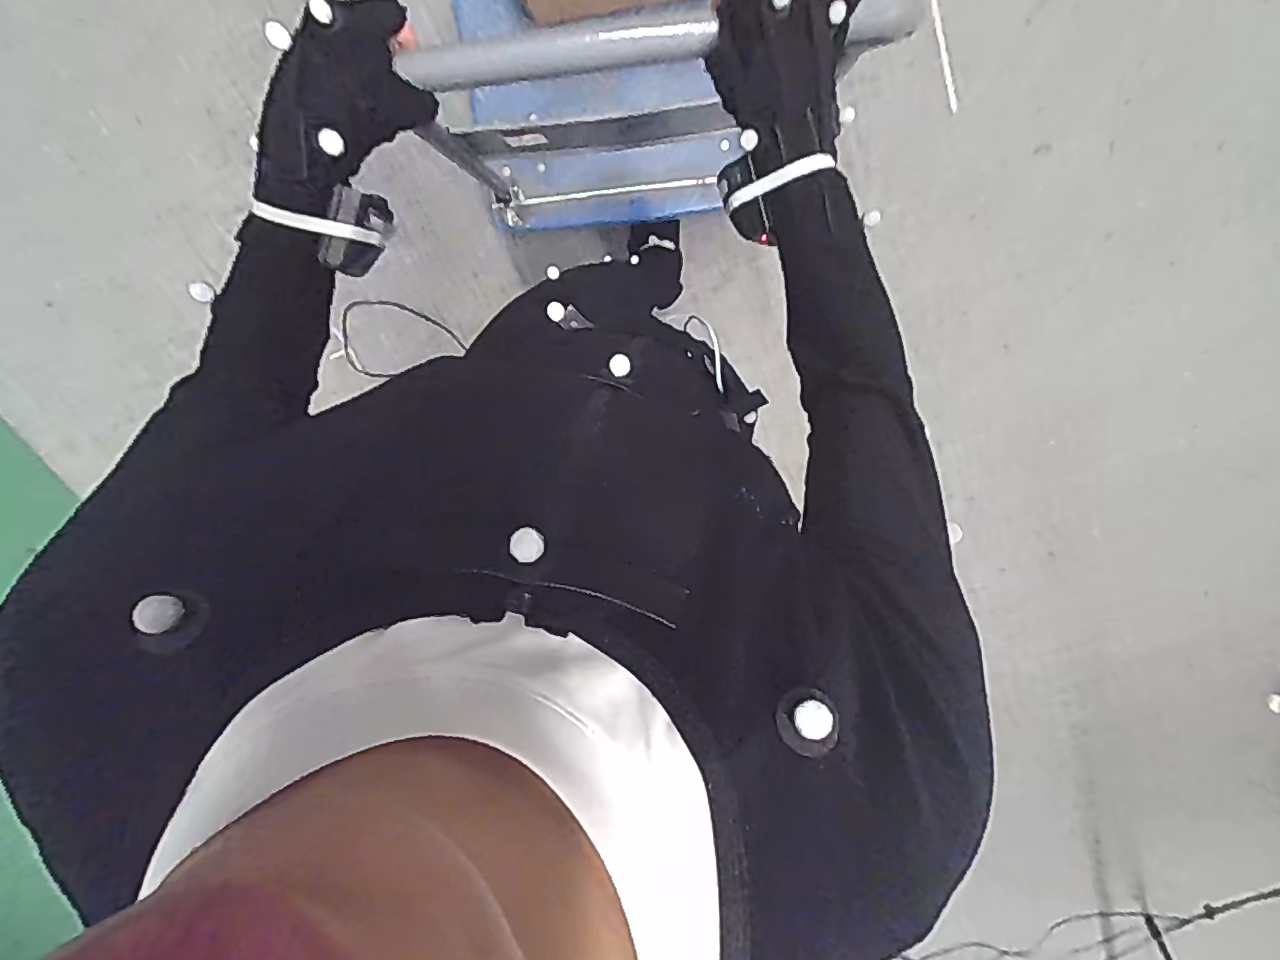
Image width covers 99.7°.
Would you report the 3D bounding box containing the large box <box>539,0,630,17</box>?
[{"bbox_3d":[-0.002,-0.933,0.757,0.408,0.320,0.320,-7,111,6],"label":"large box"}]
